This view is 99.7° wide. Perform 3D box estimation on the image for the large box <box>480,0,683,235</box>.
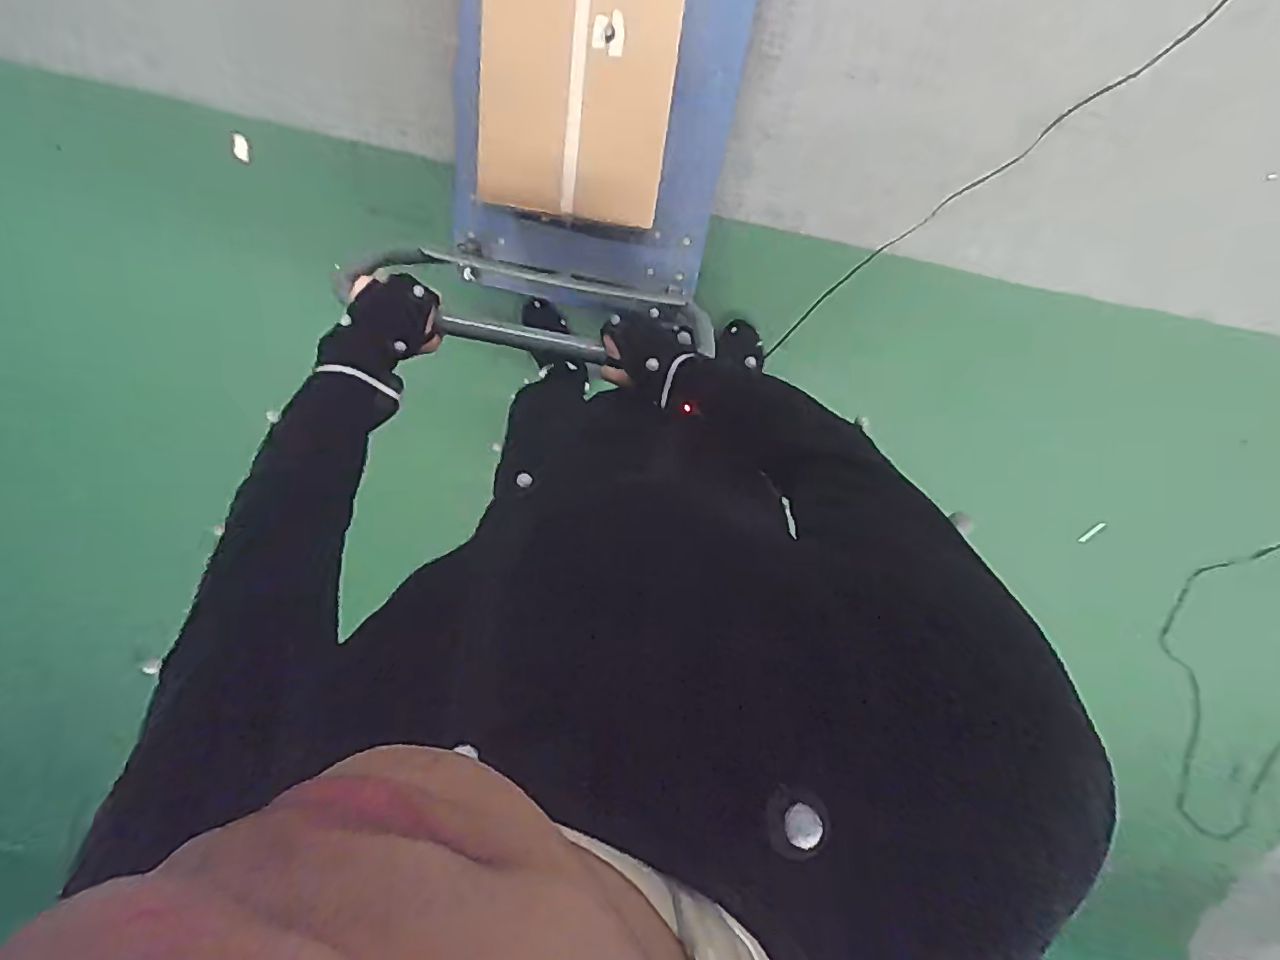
[{"bbox_3d":[-0.104,-0.706,1.029,0.320,0.320,0.408,8,113,-4],"label":"large box"}]
